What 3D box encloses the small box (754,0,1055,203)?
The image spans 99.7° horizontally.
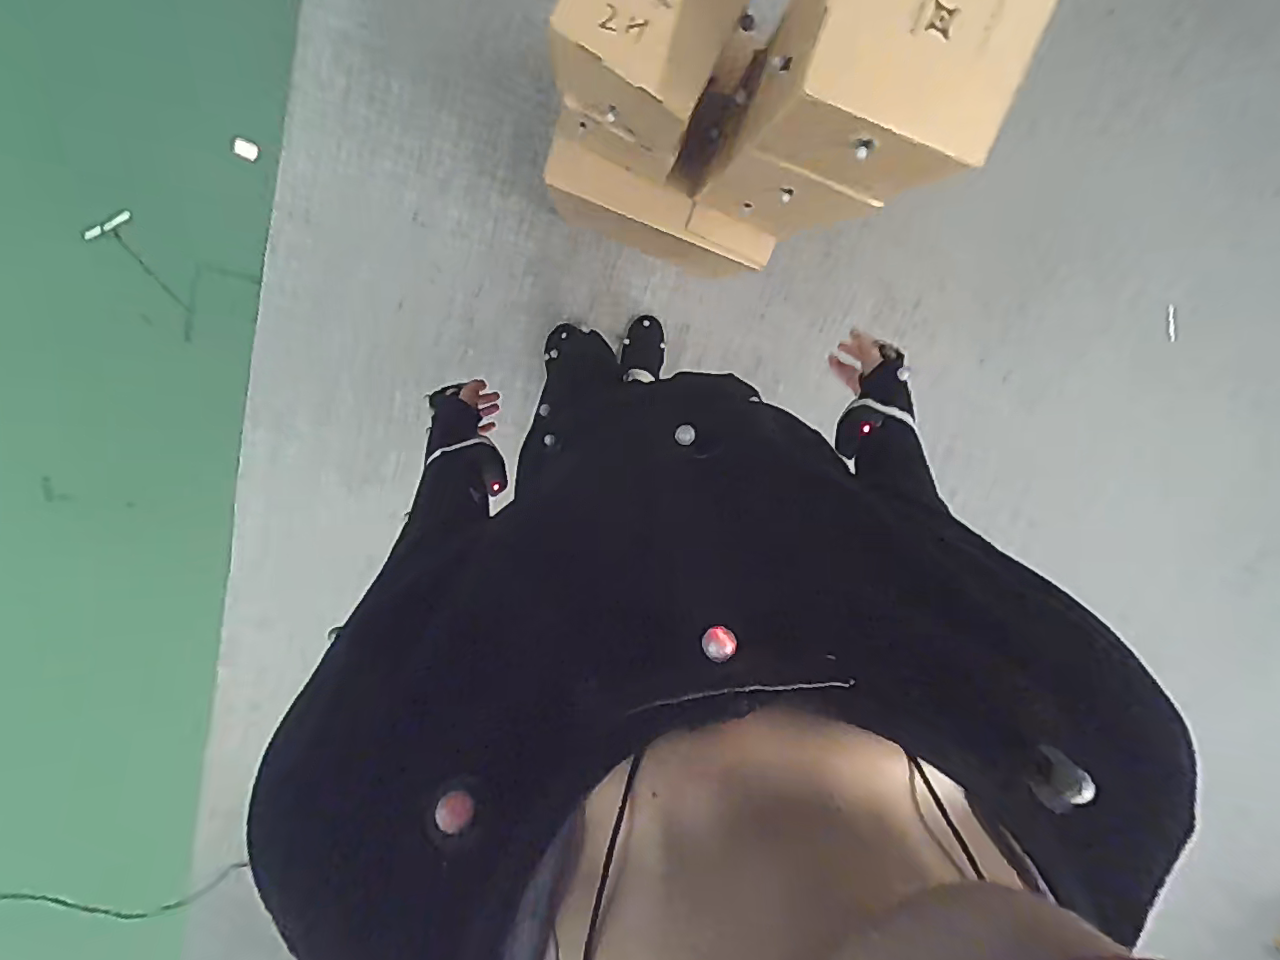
[{"bbox_3d":[0.228,-0.383,0.508,0.179,0.176,0.168,17,106,-9],"label":"small box"}]
